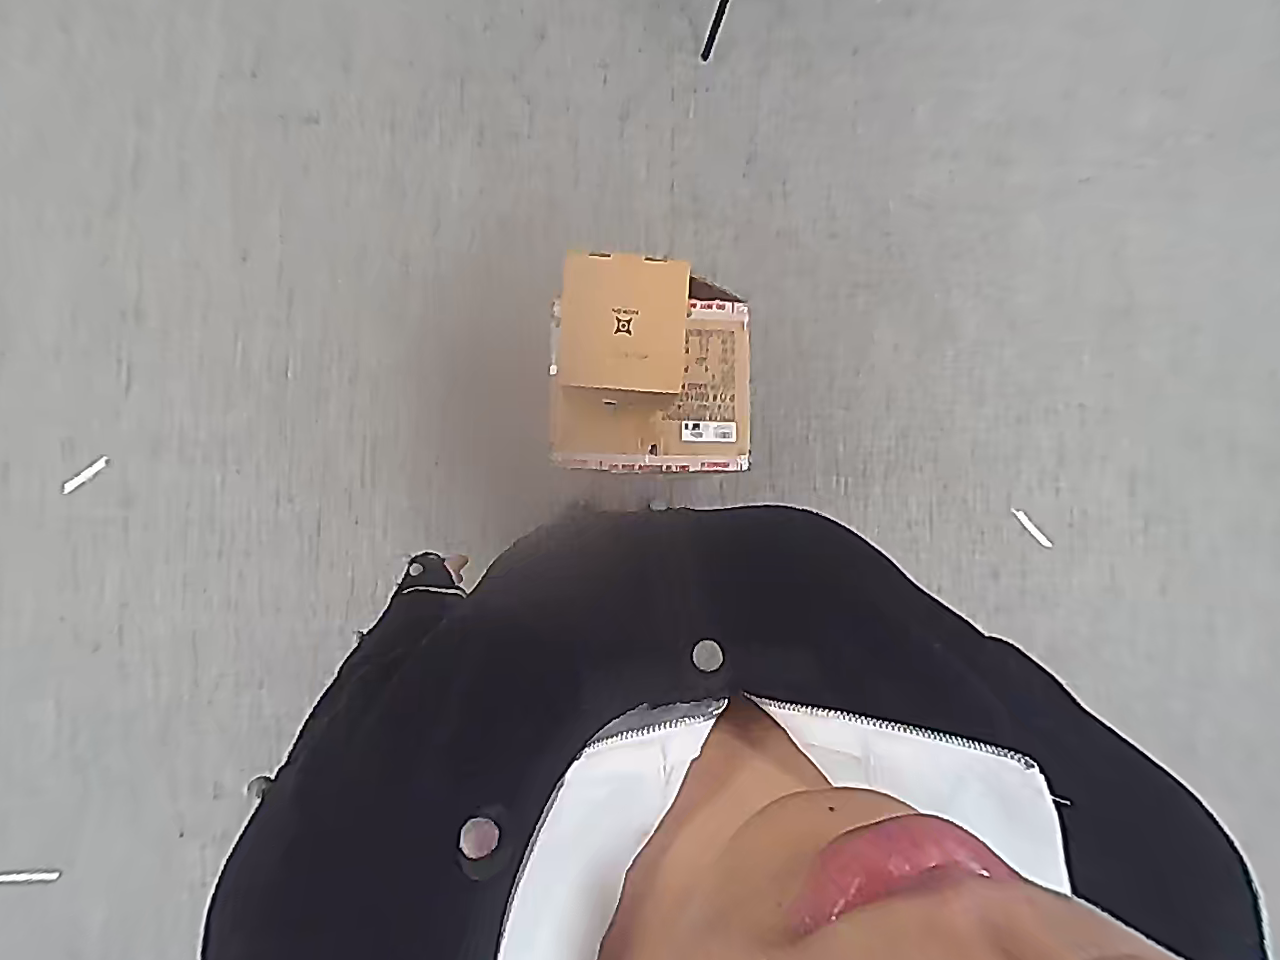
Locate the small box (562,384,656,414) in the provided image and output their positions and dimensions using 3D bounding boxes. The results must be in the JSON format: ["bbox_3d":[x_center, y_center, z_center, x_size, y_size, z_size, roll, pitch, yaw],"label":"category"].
[{"bbox_3d":[-0.041,-0.211,0.940,0.168,0.176,0.179,3,91,-3],"label":"small box"}]

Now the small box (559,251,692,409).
[{"bbox_3d":[-0.022,-0.203,0.777,0.168,0.176,0.179,3,91,-2],"label":"small box"}]
